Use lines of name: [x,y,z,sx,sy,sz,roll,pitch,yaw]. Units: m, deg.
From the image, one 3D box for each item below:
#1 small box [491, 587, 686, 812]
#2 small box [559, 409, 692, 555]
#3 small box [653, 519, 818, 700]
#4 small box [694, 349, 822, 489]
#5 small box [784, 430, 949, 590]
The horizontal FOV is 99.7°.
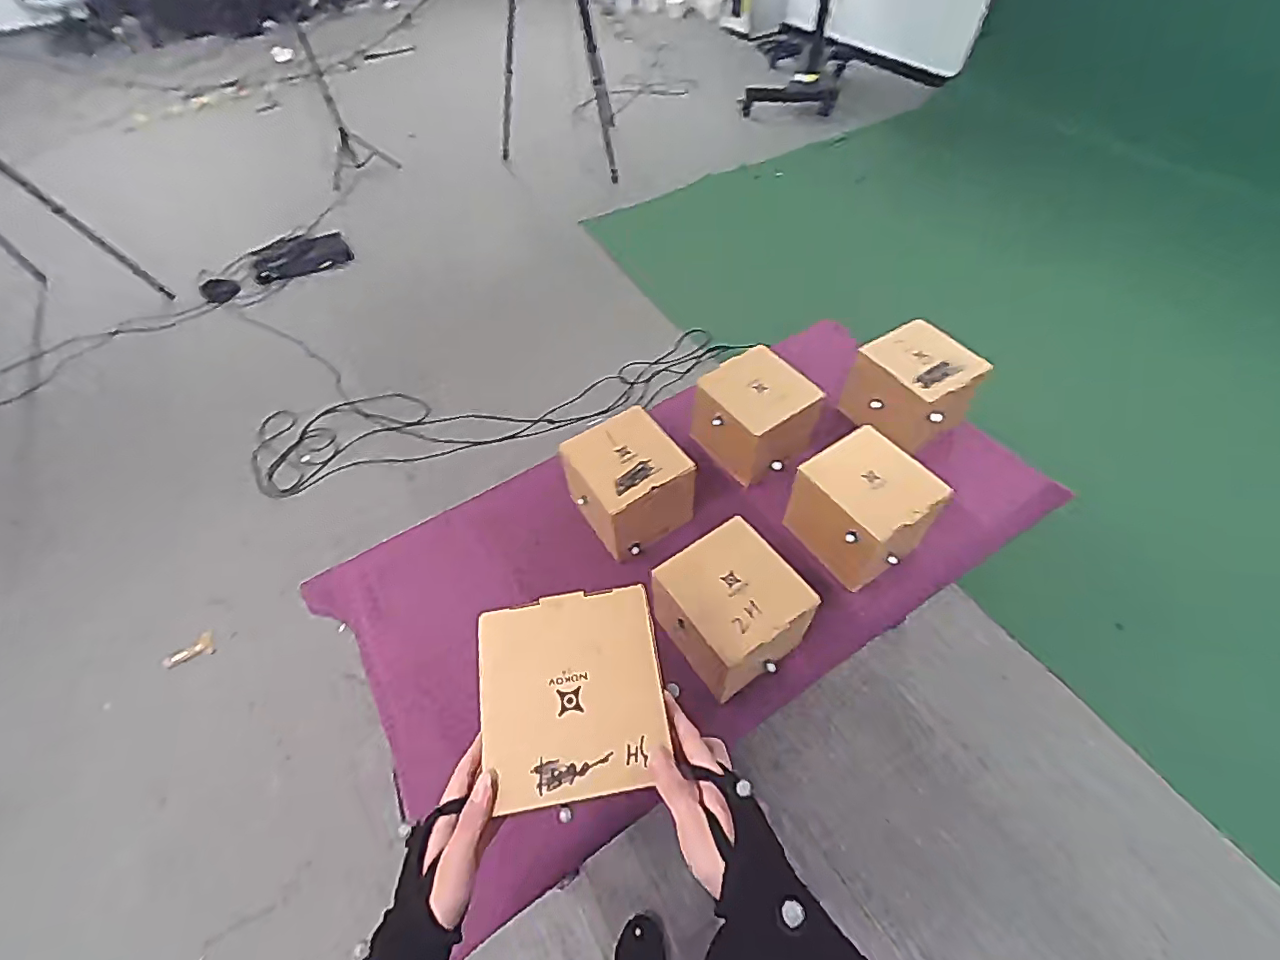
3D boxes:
small box: [-0.049,0.229,0.558,0.168,0.176,0.179,-9,61,-1]
small box: [-0.022,0.011,0.971,0.168,0.176,0.179,-29,57,-18]
small box: [0.134,0.199,0.823,0.168,0.176,0.179,-29,57,-18]
small box: [0.218,-0.116,1.057,0.168,0.176,0.179,-30,59,-17]
small box: [0.372,0.053,0.924,0.168,0.176,0.179,-29,57,-18]
